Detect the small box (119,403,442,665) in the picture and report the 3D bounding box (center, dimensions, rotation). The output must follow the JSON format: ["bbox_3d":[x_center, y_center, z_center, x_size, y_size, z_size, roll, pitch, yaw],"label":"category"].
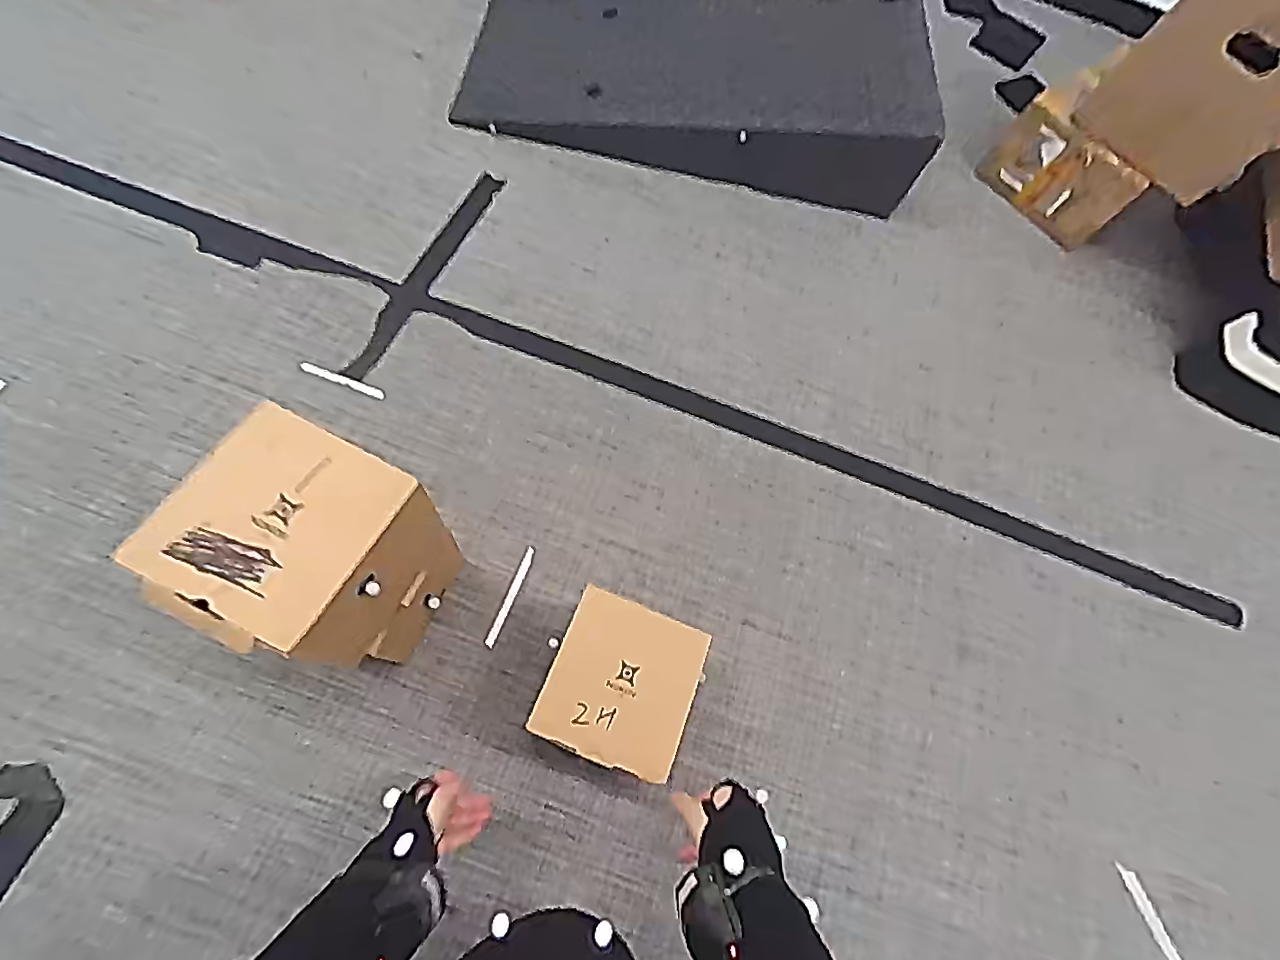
[{"bbox_3d":[-0.319,0.065,0.532,0.168,0.176,0.179,28,65,2],"label":"small box"}]

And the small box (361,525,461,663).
[{"bbox_3d":[-0.348,0.121,0.685,0.179,0.176,0.168,25,65,-1],"label":"small box"}]

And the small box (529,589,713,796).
[{"bbox_3d":[-0.030,0.263,0.683,0.168,0.176,0.179,24,66,1],"label":"small box"}]
